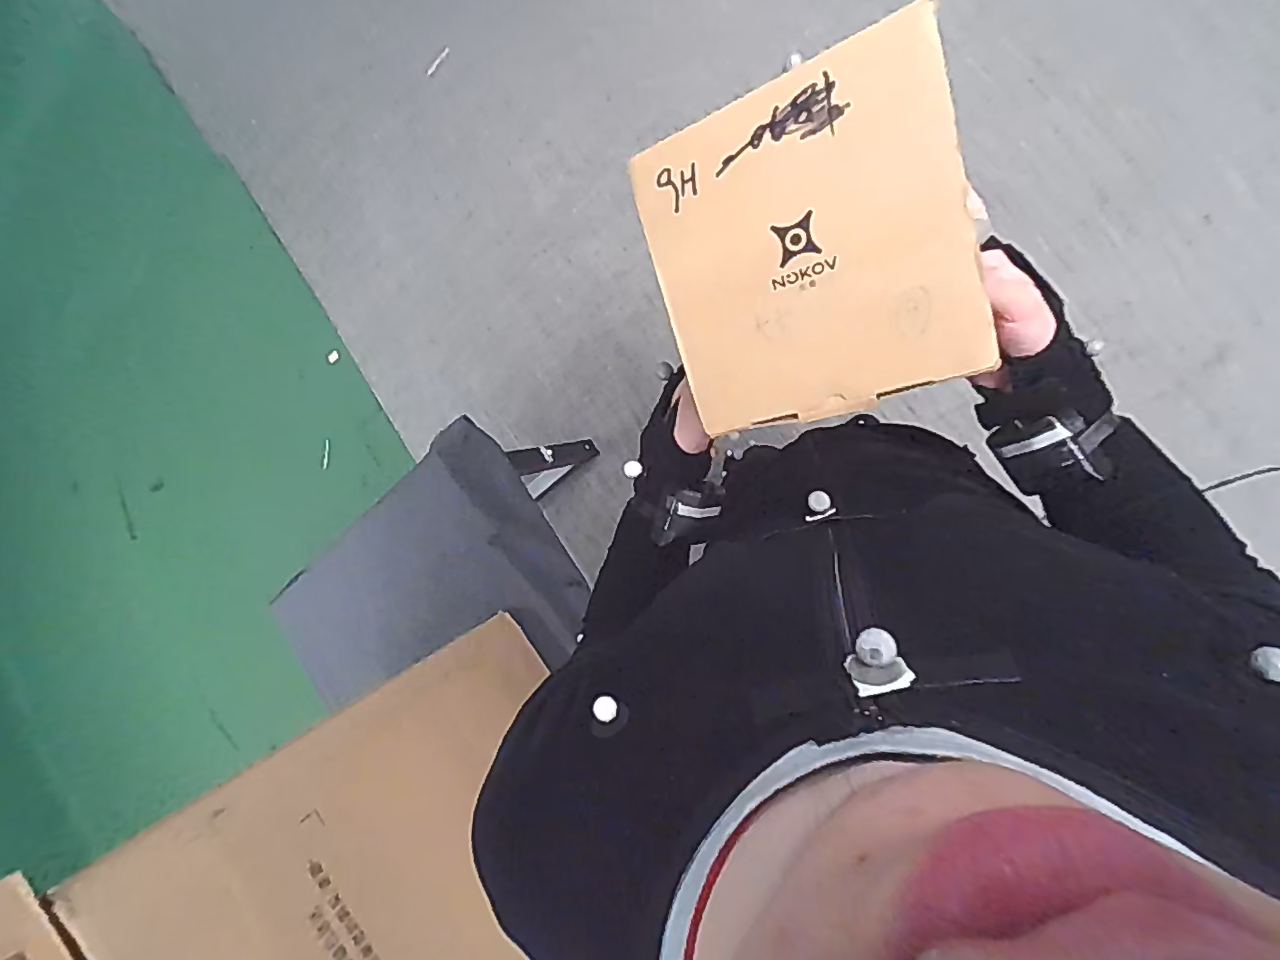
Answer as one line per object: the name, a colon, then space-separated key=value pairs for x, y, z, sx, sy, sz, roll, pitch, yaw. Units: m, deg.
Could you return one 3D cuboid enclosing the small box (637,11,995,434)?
small box: x=0.126 y=-0.149 z=0.370 sx=0.168 sy=0.176 sz=0.179 roll=-12 pitch=103 yaw=29
